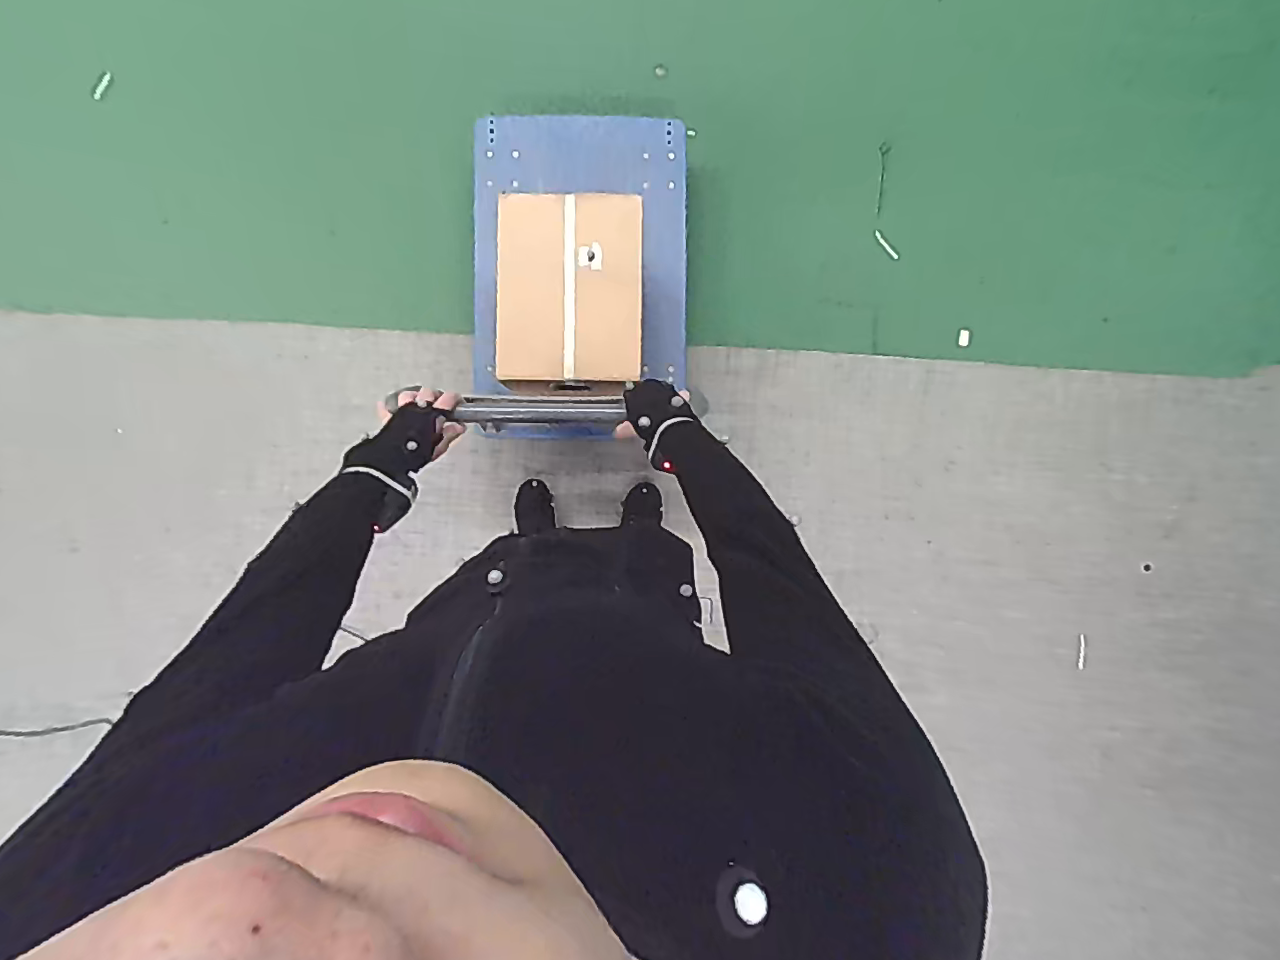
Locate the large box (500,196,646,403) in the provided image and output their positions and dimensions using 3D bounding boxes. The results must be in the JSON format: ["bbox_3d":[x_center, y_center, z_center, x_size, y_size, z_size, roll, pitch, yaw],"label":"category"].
[{"bbox_3d":[-0.144,-0.408,1.310,0.320,0.320,0.408,1,89,-1],"label":"large box"}]
